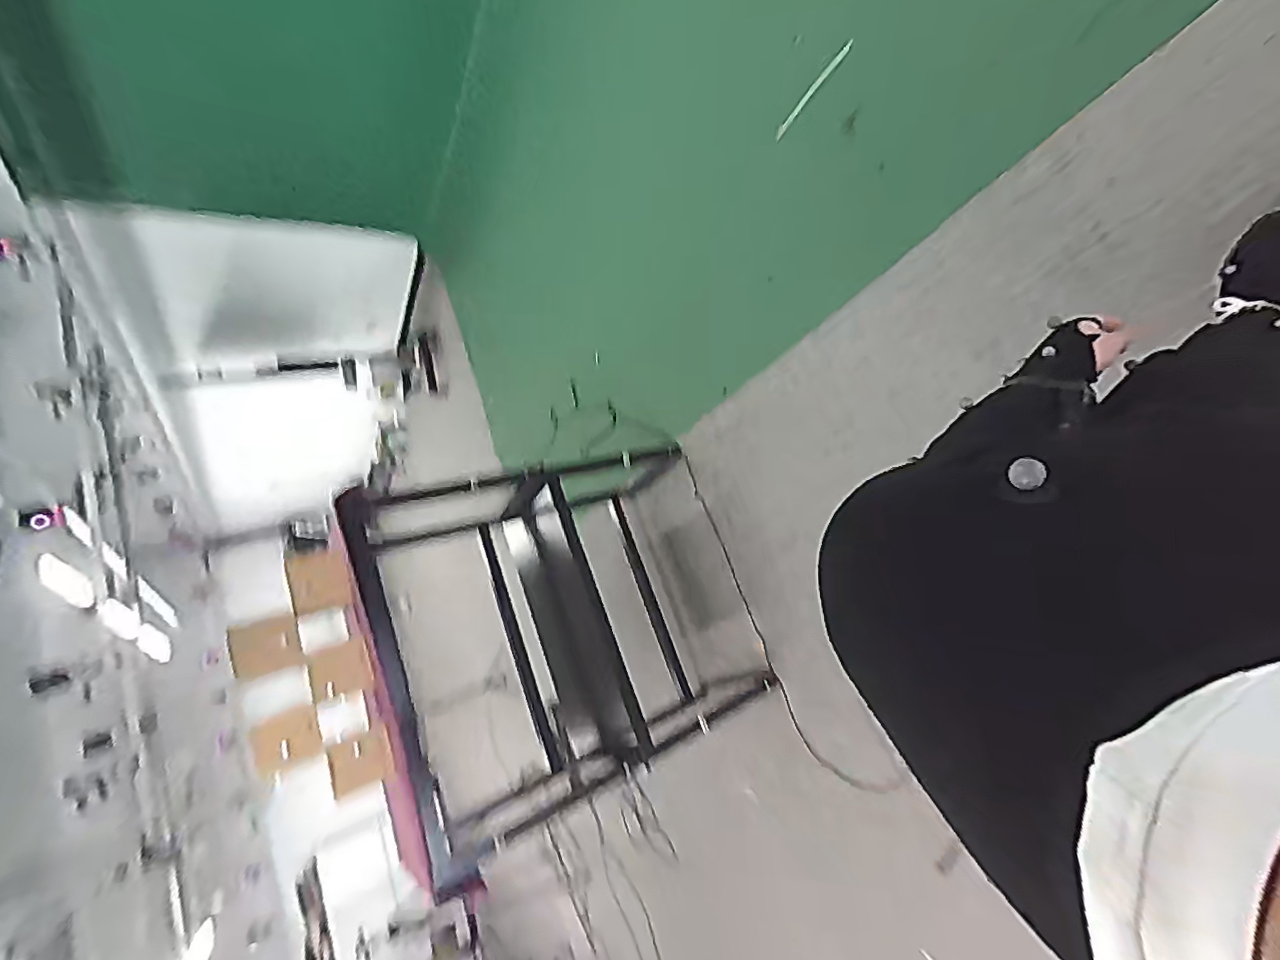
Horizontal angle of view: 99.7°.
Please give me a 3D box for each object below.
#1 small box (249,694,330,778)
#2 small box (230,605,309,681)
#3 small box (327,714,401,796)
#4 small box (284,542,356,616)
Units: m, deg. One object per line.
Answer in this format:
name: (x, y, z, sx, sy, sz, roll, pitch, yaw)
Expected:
small box: (-1.014, 0.740, 1.578, 0.179, 0.176, 0.168, -39, 70, 53)
small box: (-1.111, 0.486, 1.628, 0.168, 0.176, 0.179, -36, 71, 54)
small box: (-0.832, 0.820, 1.630, 0.179, 0.176, 0.168, -37, 70, 54)
small box: (-1.034, 0.321, 1.752, 0.168, 0.176, 0.179, -38, 69, 53)
